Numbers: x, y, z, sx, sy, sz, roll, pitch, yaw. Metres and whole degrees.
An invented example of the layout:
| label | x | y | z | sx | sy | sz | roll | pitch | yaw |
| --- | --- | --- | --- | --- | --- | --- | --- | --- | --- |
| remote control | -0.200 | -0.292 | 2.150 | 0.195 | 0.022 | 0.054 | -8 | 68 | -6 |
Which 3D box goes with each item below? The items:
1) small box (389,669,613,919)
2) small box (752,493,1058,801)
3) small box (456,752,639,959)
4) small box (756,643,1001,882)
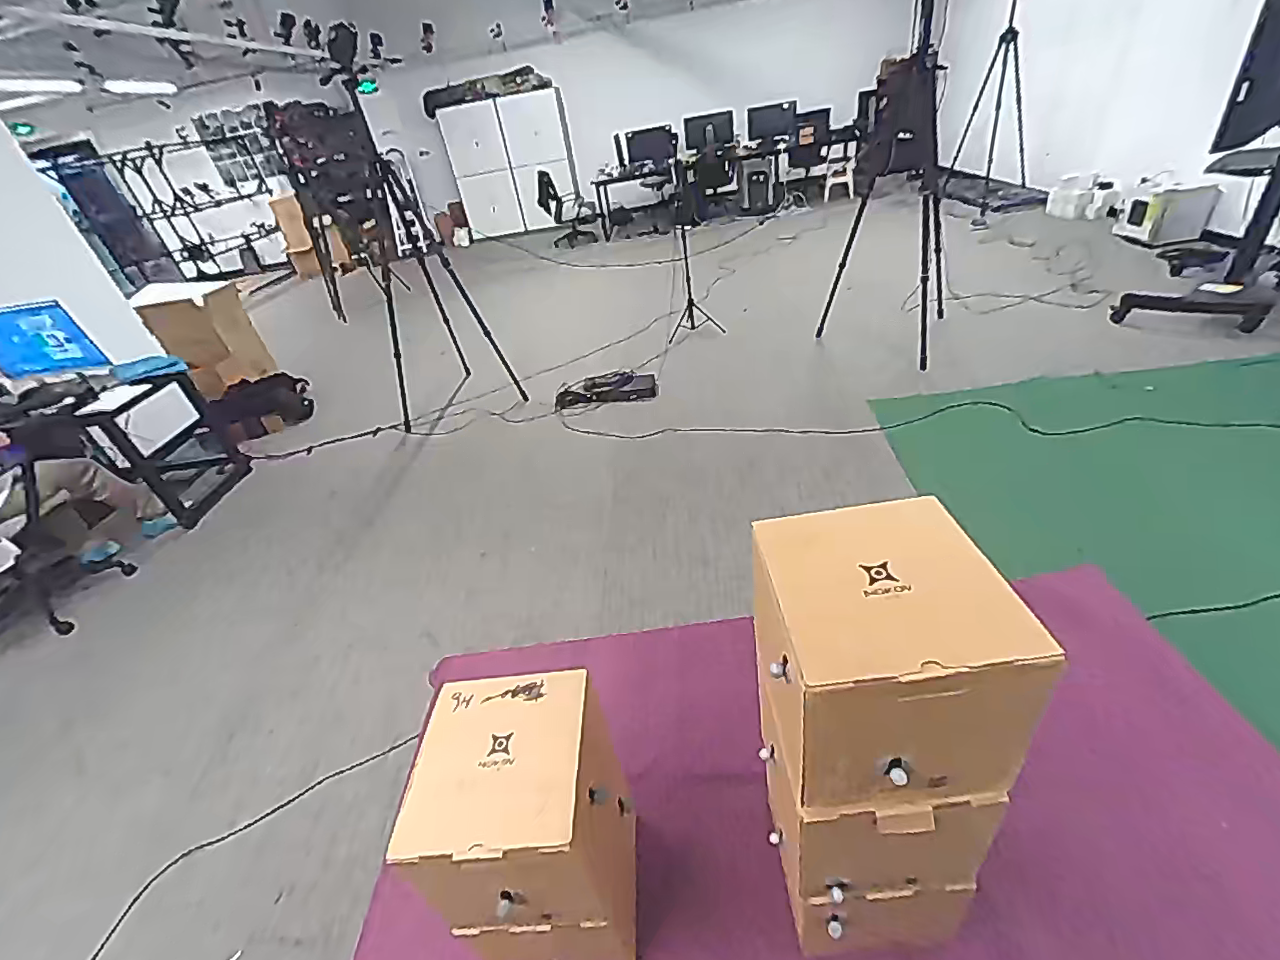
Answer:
| label | x | y | z | sx | sy | sz | roll | pitch | yaw |
| --- | --- | --- | --- | --- | --- | --- | --- | --- | --- |
| small box | -0.123 | 0.329 | 0.565 | 0.168 | 0.176 | 0.179 | -8 | 35 | 4 |
| small box | 0.195 | 0.137 | 0.461 | 0.168 | 0.176 | 0.179 | -9 | 35 | 3 |
| small box | -0.096 | 0.464 | 0.655 | 0.168 | 0.176 | 0.179 | -9 | 35 | 5 |
| small box | 0.220 | 0.274 | 0.545 | 0.168 | 0.176 | 0.179 | -9 | 33 | 3 |
